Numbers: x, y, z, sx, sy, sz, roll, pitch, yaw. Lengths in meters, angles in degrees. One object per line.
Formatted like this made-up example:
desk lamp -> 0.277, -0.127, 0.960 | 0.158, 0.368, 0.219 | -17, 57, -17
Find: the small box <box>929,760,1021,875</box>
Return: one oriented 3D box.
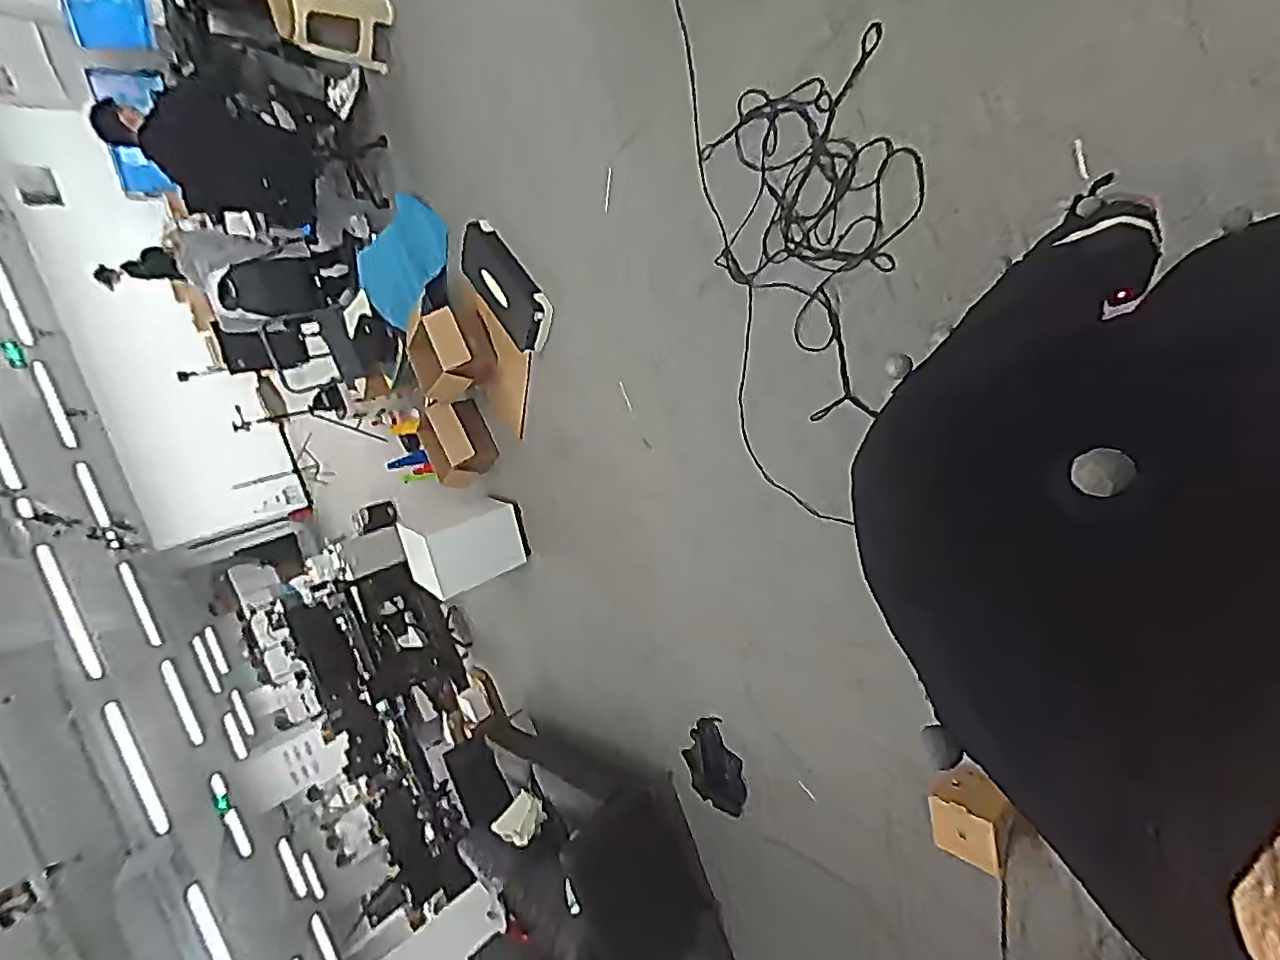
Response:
small box -> 0.934, 0.926, 1.506 | 0.168, 0.176, 0.179 | 2, 110, 53
